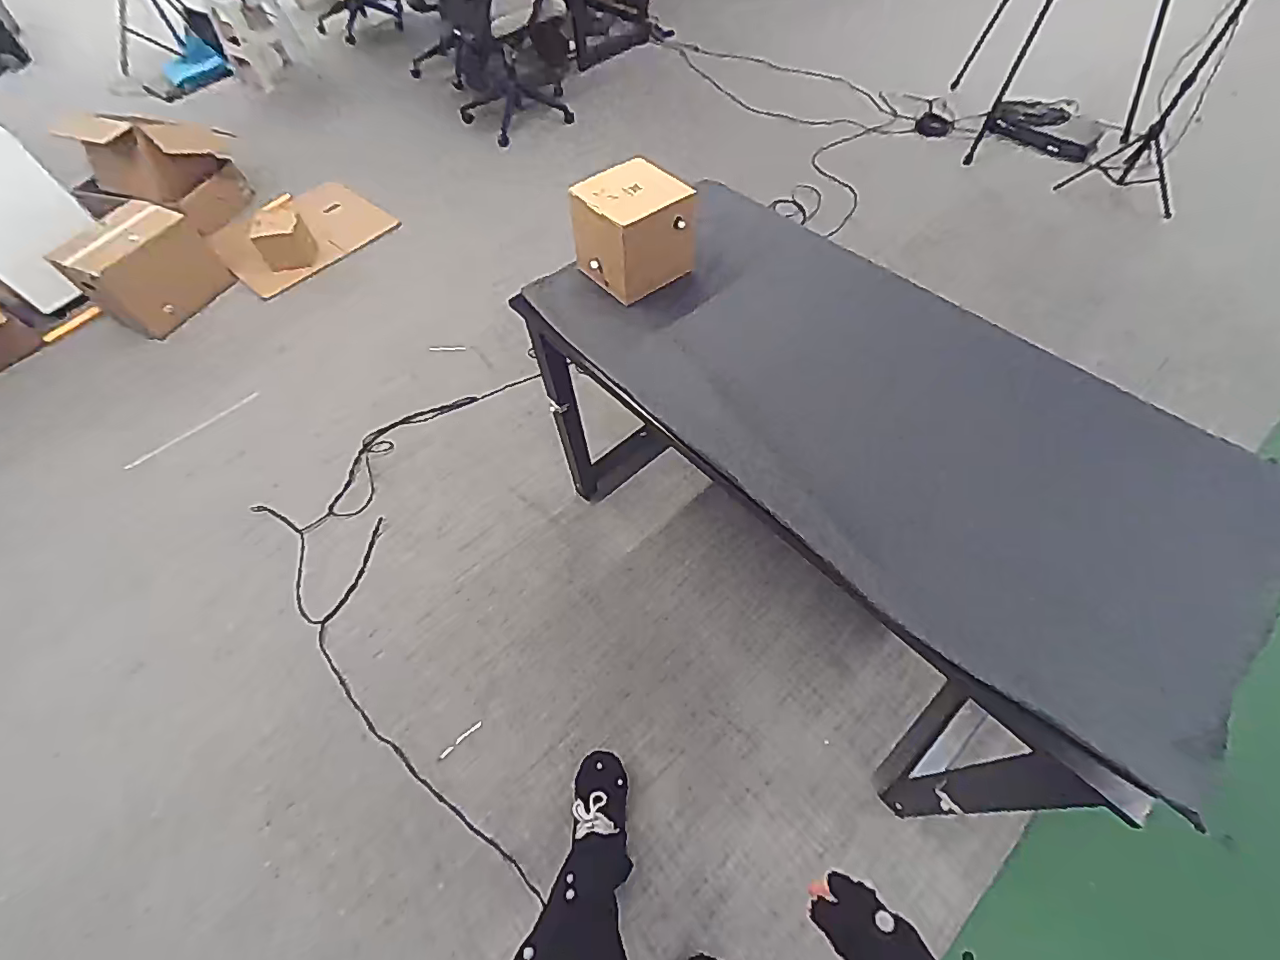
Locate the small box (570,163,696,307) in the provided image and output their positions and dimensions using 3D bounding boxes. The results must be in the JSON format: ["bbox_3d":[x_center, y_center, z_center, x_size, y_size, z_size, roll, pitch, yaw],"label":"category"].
[{"bbox_3d":[-0.014,-0.475,1.056,0.179,0.176,0.168,-35,62,-20],"label":"small box"}]
